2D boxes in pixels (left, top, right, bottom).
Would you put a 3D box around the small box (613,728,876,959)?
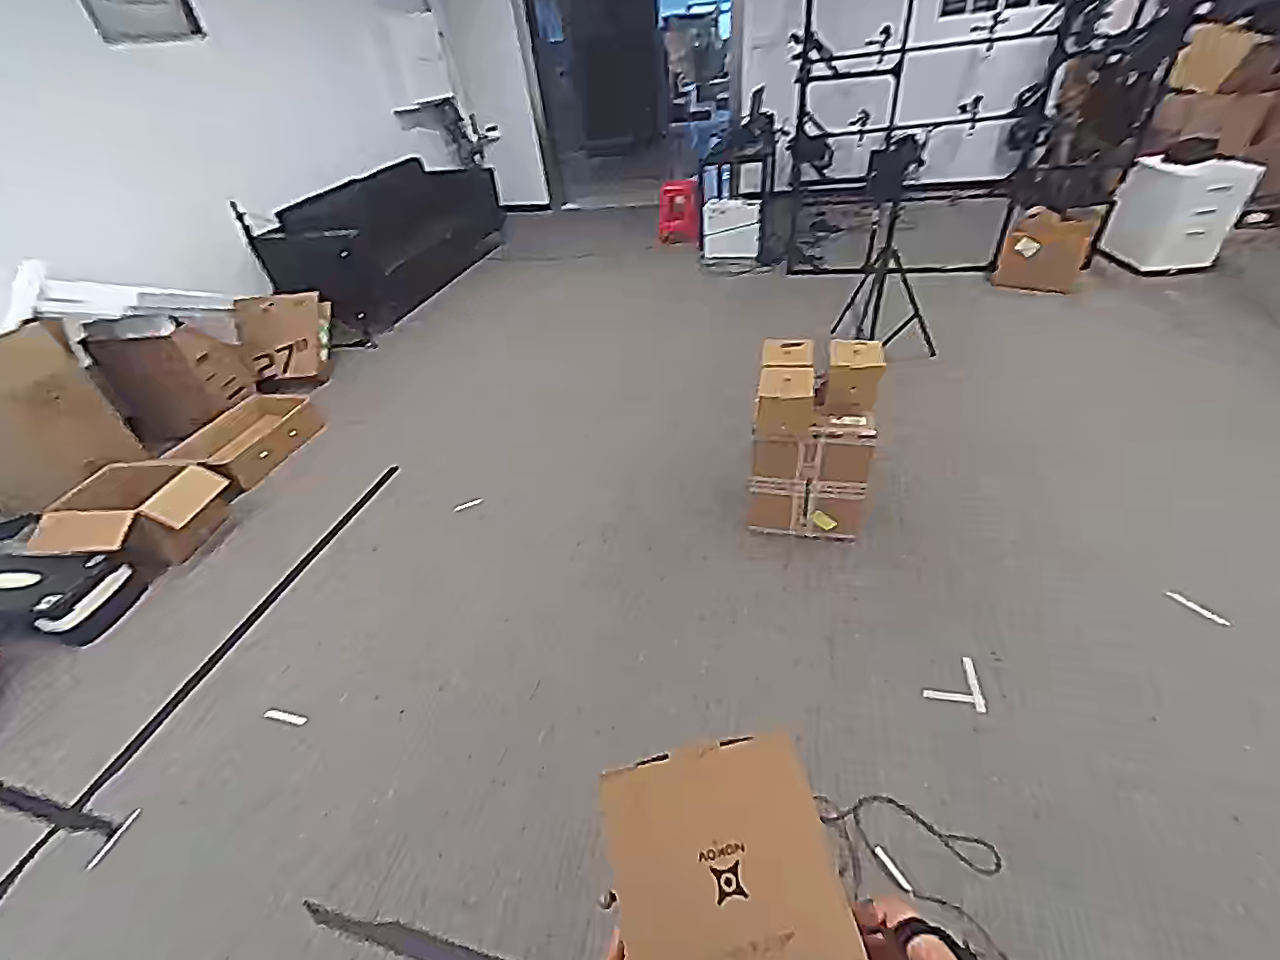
[{"bbox_3d":[0.068,0.338,0.465,0.168,0.176,0.179,-9,55,-8],"label":"small box"}]
